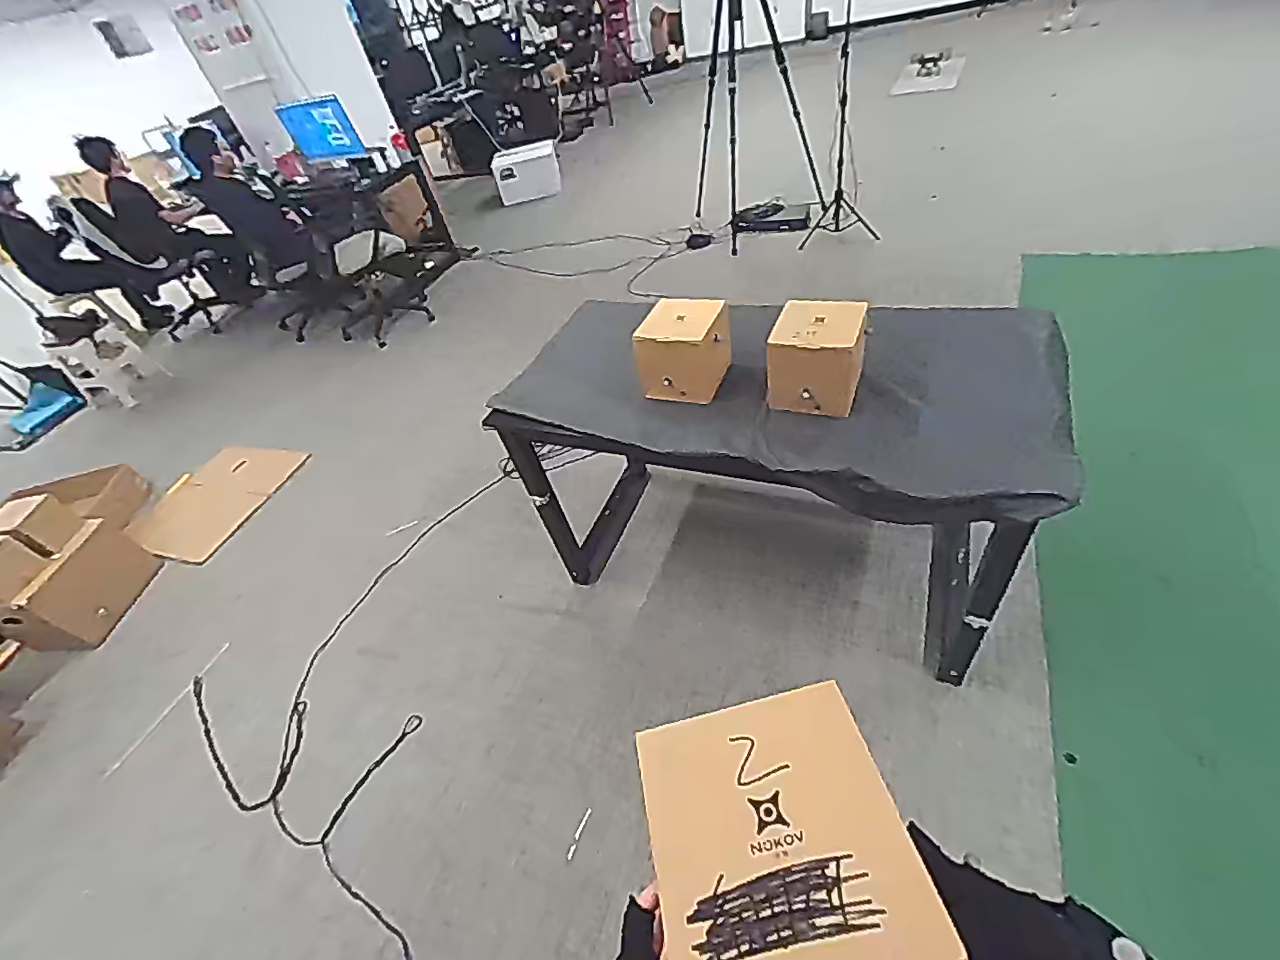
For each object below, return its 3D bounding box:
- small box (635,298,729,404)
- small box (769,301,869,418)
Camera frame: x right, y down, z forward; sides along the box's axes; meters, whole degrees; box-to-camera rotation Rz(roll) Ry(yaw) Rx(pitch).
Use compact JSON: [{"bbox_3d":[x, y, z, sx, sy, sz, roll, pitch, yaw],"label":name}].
[{"bbox_3d":[0.106,-0.302,1.263,0.168,0.176,0.179,11,50,24],"label":"small box"},{"bbox_3d":[0.374,-0.256,1.142,0.168,0.176,0.179,11,49,25],"label":"small box"}]
